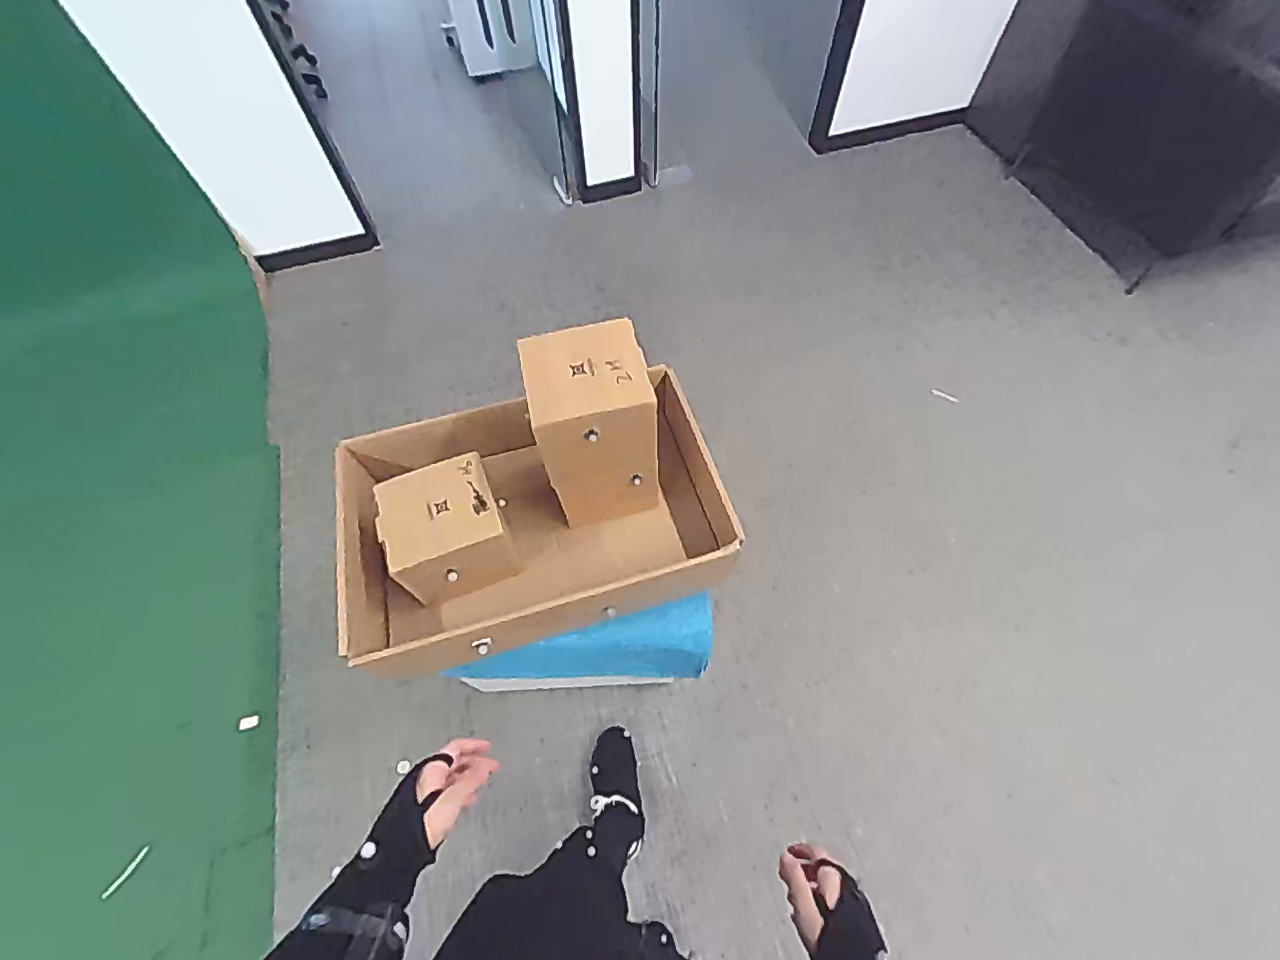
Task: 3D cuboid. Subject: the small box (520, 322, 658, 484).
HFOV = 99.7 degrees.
[{"bbox_3d":[-0.073,-0.111,0.835,0.179,0.176,0.168,-12,61,-5],"label":"small box"}]
